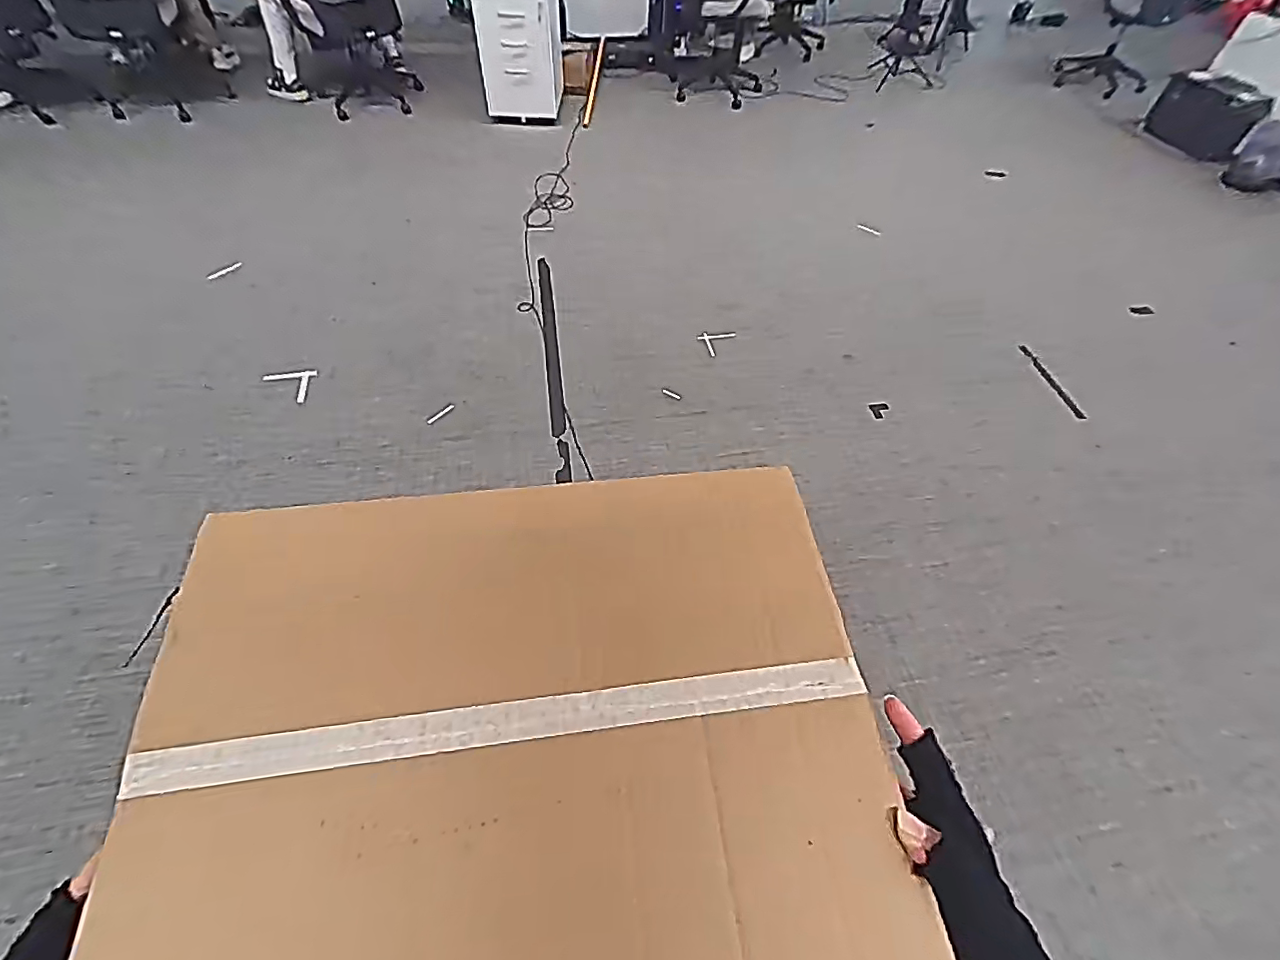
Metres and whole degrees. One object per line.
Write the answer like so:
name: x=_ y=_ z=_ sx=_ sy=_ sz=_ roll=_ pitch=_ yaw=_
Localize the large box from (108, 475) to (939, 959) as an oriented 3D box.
large box: x=-0.074 y=0.223 z=0.444 sx=0.408 sy=0.320 sz=0.320 roll=-5 pitch=59 yaw=-7
